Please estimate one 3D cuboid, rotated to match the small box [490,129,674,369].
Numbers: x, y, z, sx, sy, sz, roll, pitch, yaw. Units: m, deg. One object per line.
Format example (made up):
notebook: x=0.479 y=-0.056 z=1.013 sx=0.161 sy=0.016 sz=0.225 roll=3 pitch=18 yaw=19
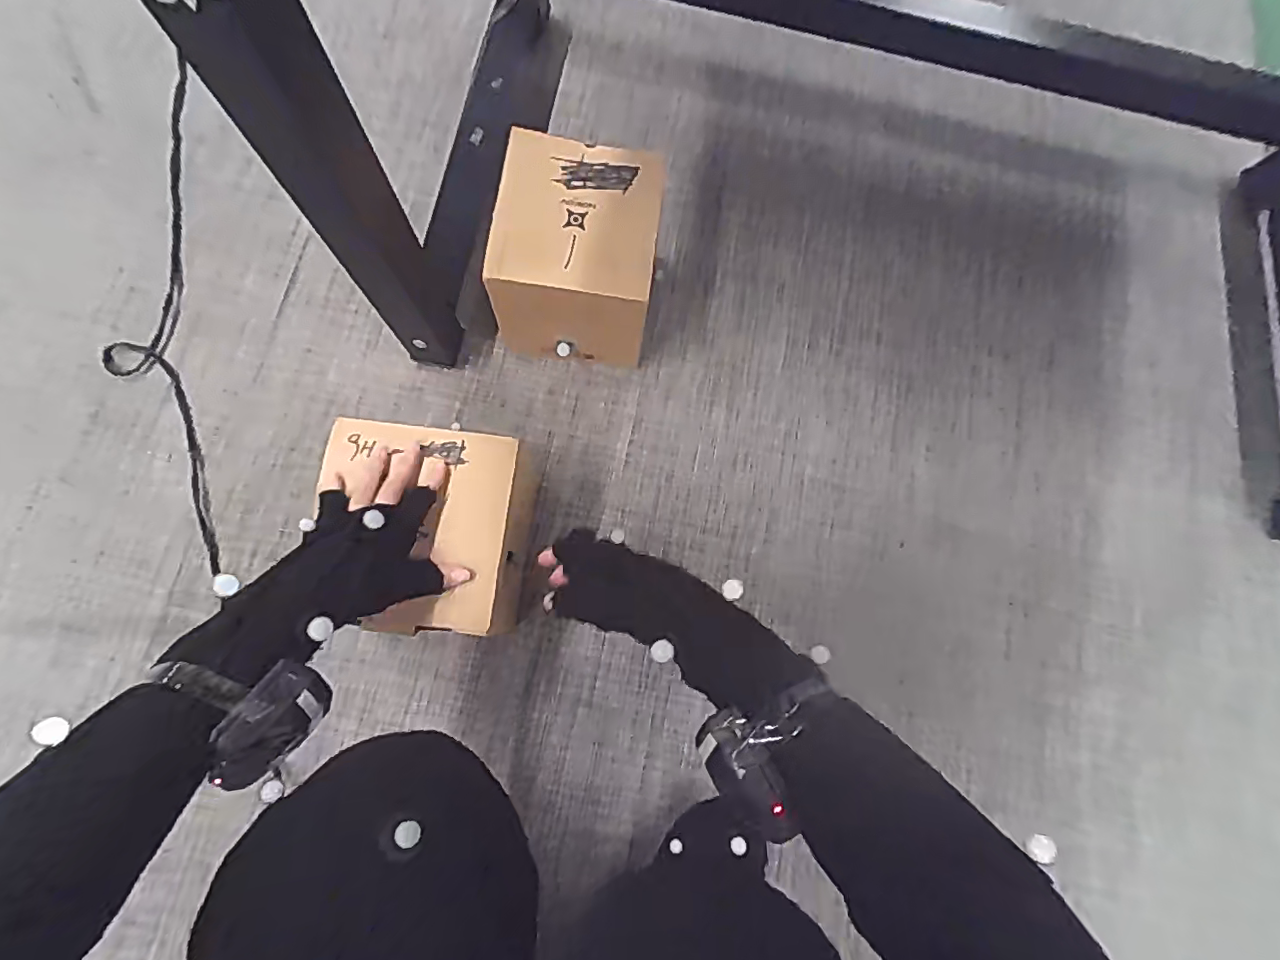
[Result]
small box: x=-0.063 y=-0.253 z=0.625 sx=0.168 sy=0.176 sz=0.179 roll=8 pitch=78 yaw=-3
